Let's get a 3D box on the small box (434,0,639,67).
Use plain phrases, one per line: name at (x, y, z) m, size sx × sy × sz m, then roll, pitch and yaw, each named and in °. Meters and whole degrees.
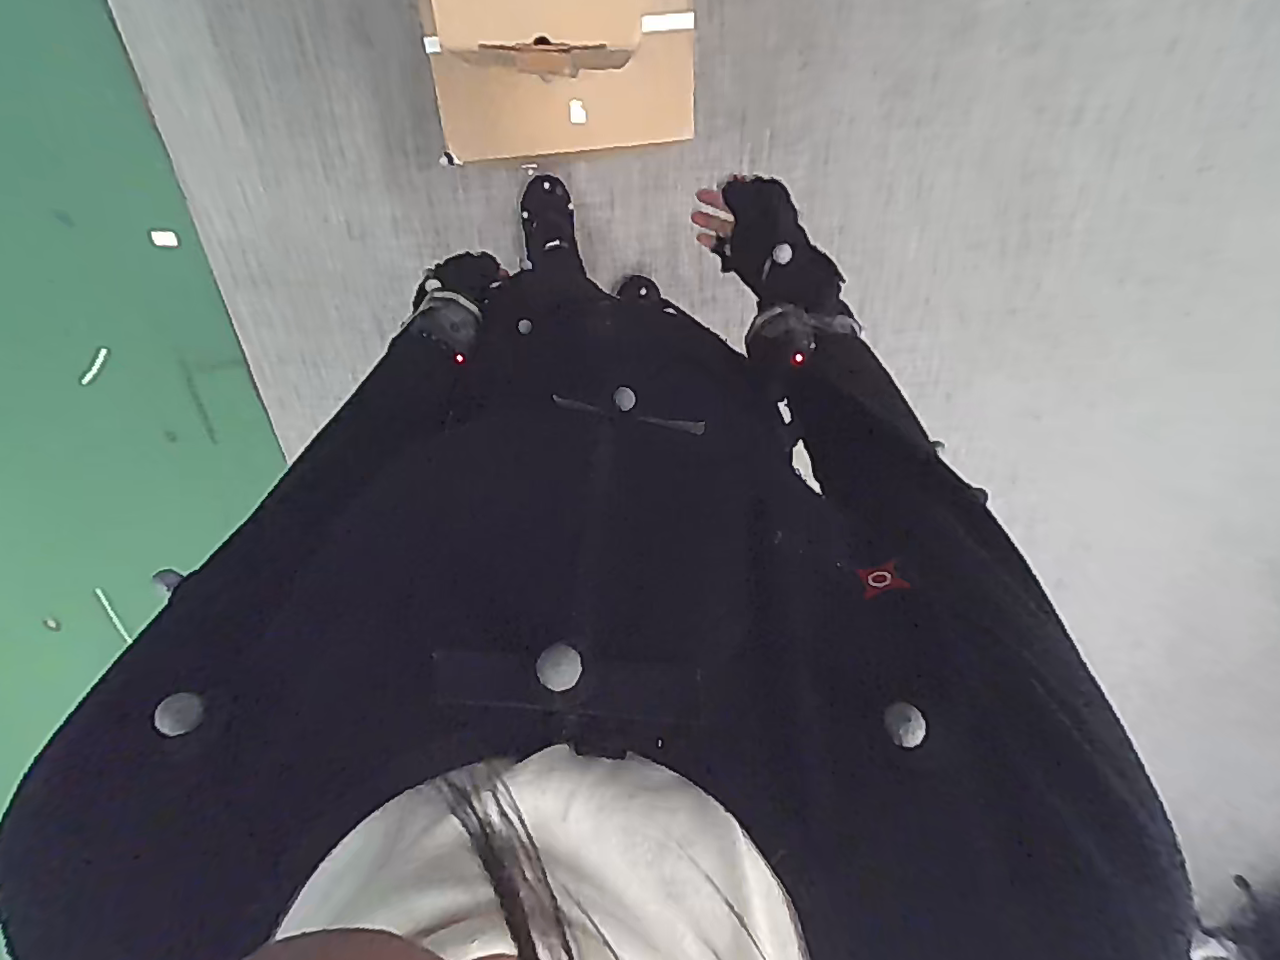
small box at (-0.088, -0.469, 0.465) m, size 0.168 × 0.176 × 0.179 m, roll -4°, pitch 124°, yaw -5°
